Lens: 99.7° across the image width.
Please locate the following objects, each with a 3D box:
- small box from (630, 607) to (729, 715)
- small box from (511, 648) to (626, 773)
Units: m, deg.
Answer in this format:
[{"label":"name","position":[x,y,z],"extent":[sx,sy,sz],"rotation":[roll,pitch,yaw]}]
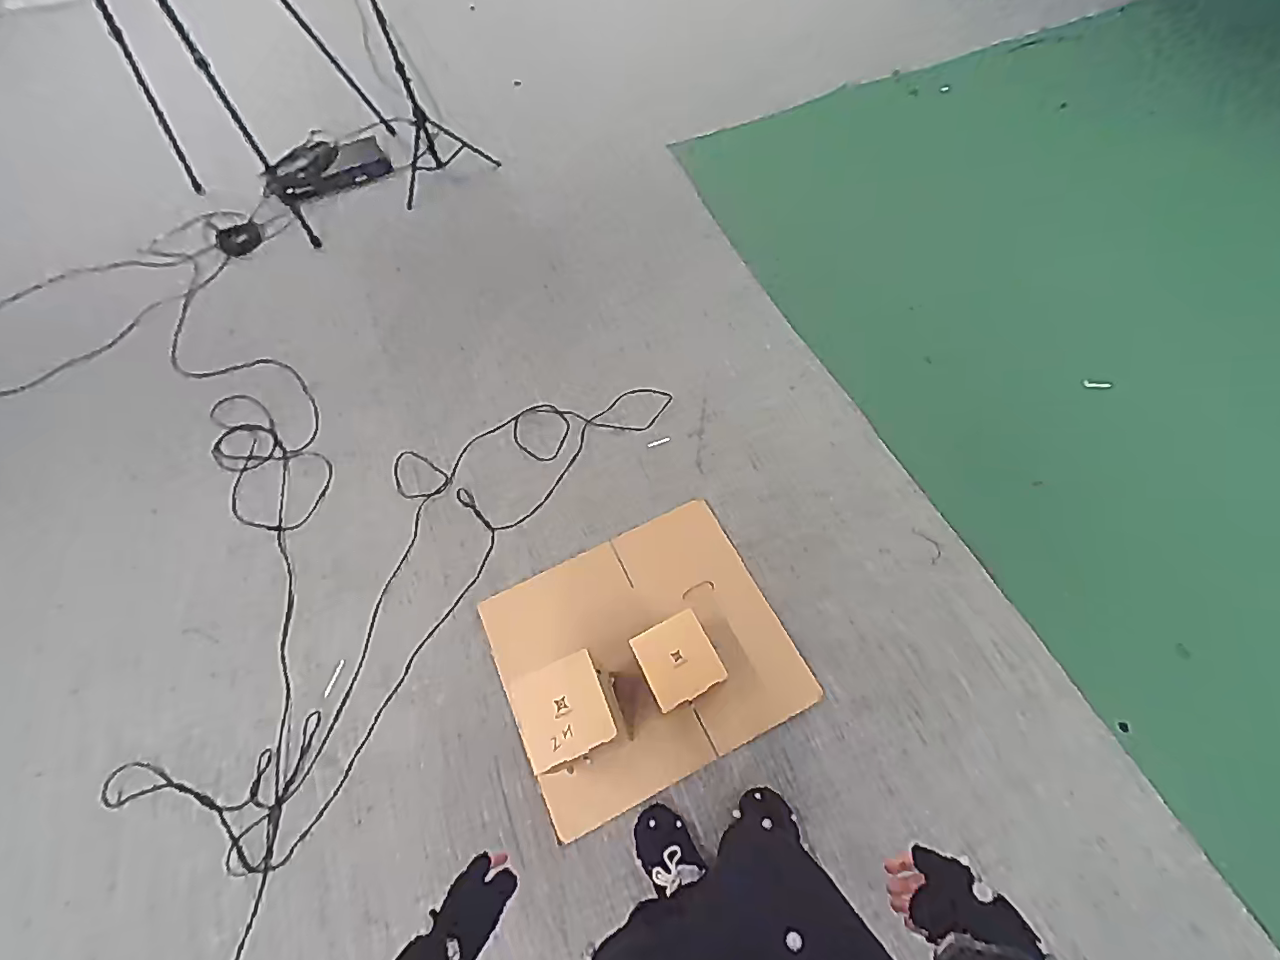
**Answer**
[{"label":"small box","position":[0.089,0.433,1.278],"extent":[0.168,0.176,0.179],"rotation":[-26,65,-10]},{"label":"small box","position":[-0.139,0.466,1.089],"extent":[0.168,0.176,0.179],"rotation":[-23,64,-6]}]
